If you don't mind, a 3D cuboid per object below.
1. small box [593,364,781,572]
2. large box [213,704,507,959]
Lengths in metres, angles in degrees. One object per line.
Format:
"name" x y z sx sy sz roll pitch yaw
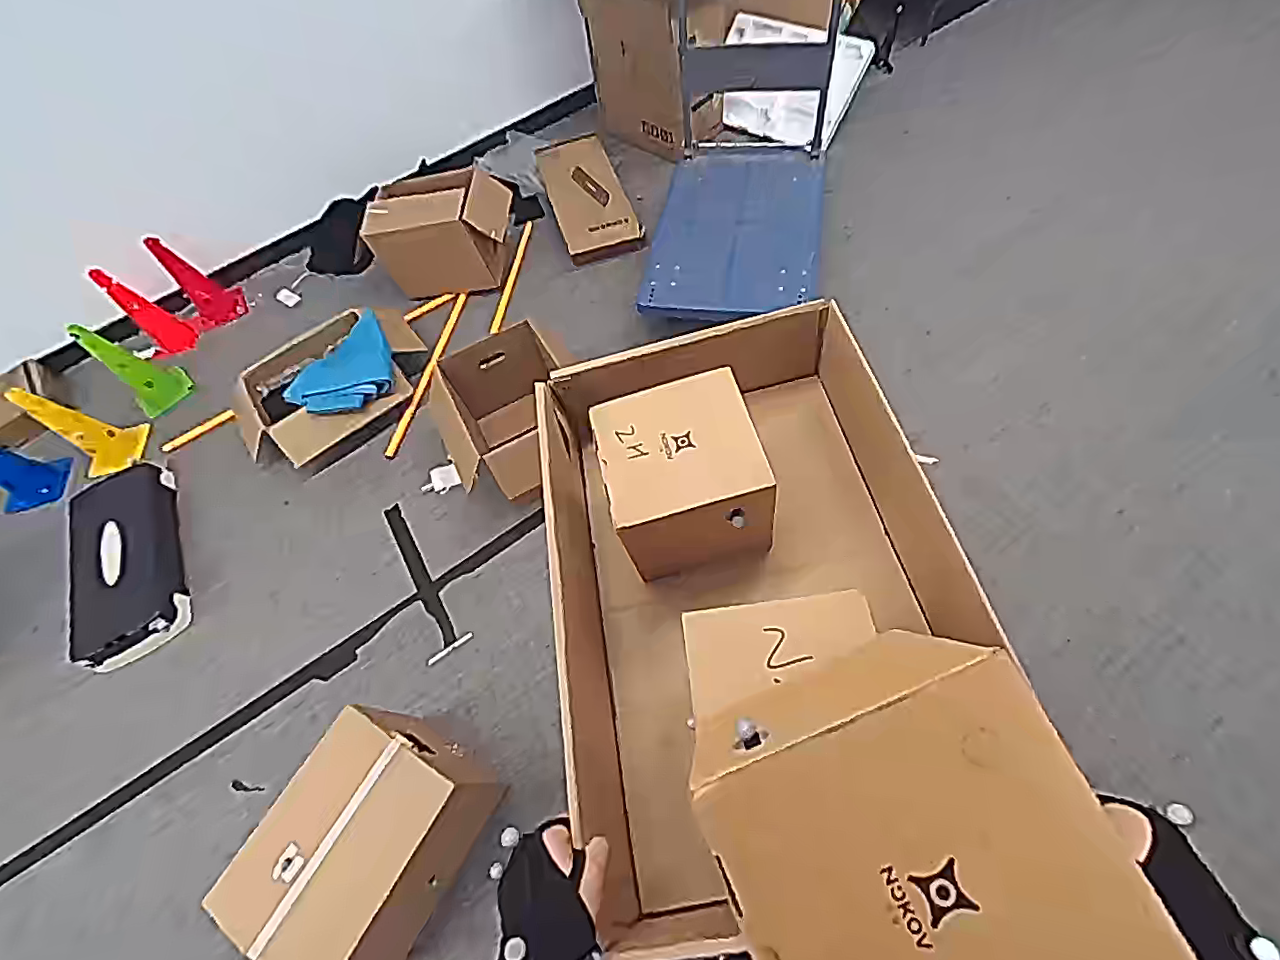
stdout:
"small box" 0.057 -0.007 0.659 0.179 0.176 0.168 -16 59 3
"large box" -0.557 0.755 1.159 0.320 0.320 0.408 23 68 21
